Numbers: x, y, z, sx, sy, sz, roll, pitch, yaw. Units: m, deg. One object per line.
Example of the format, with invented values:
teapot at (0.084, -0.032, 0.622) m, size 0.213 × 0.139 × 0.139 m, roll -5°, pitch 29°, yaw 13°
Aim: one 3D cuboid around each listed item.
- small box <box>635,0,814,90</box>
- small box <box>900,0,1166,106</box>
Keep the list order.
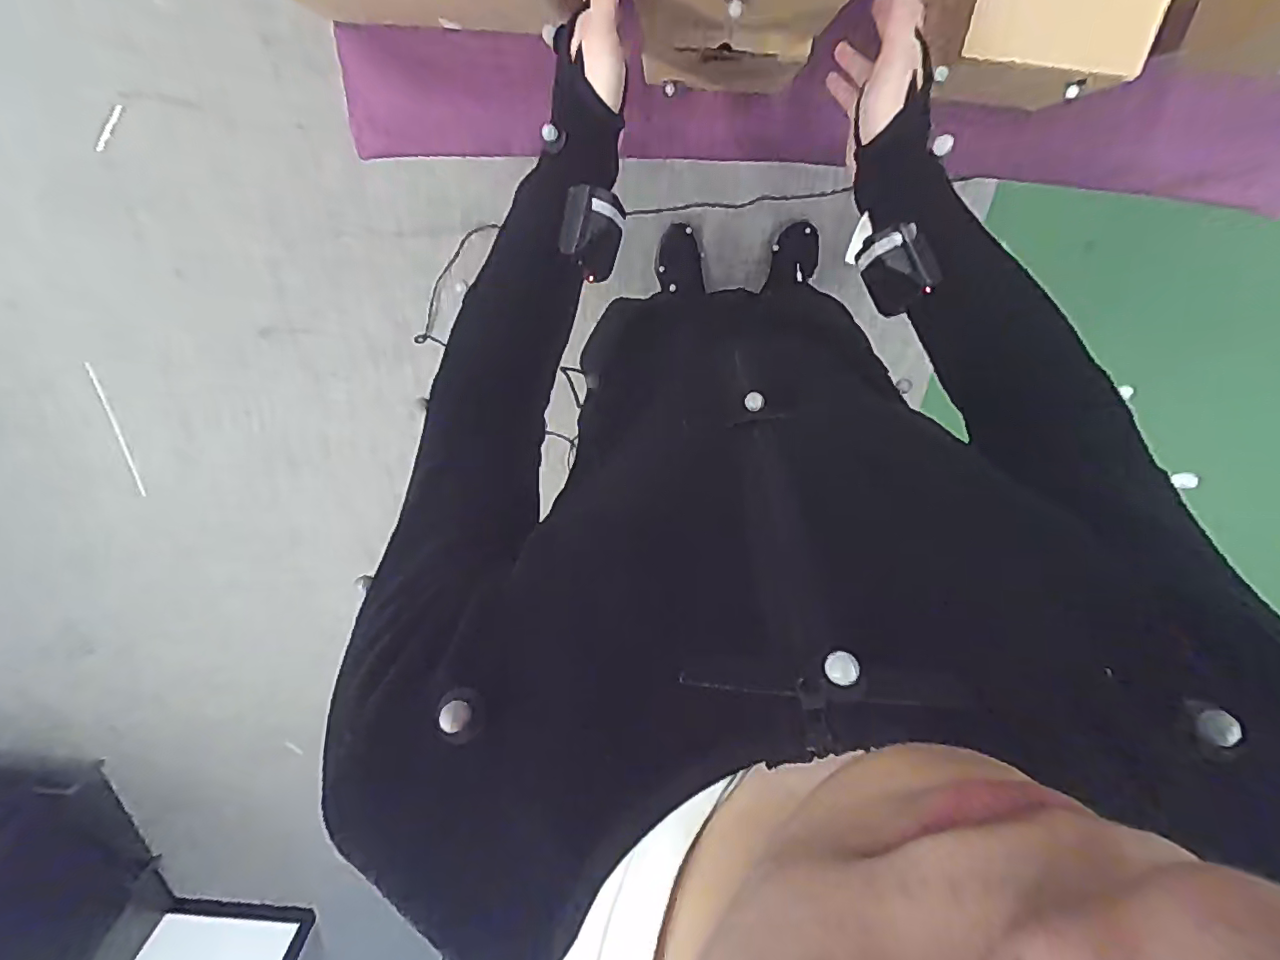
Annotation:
small box at (0.087, -0.521, 0.551) m, size 0.168 × 0.176 × 0.179 m, roll 4°, pitch 116°, yaw 0°
small box at (0.396, -0.500, 0.550) m, size 0.179 × 0.176 × 0.168 m, roll 6°, pitch 116°, yaw 0°
